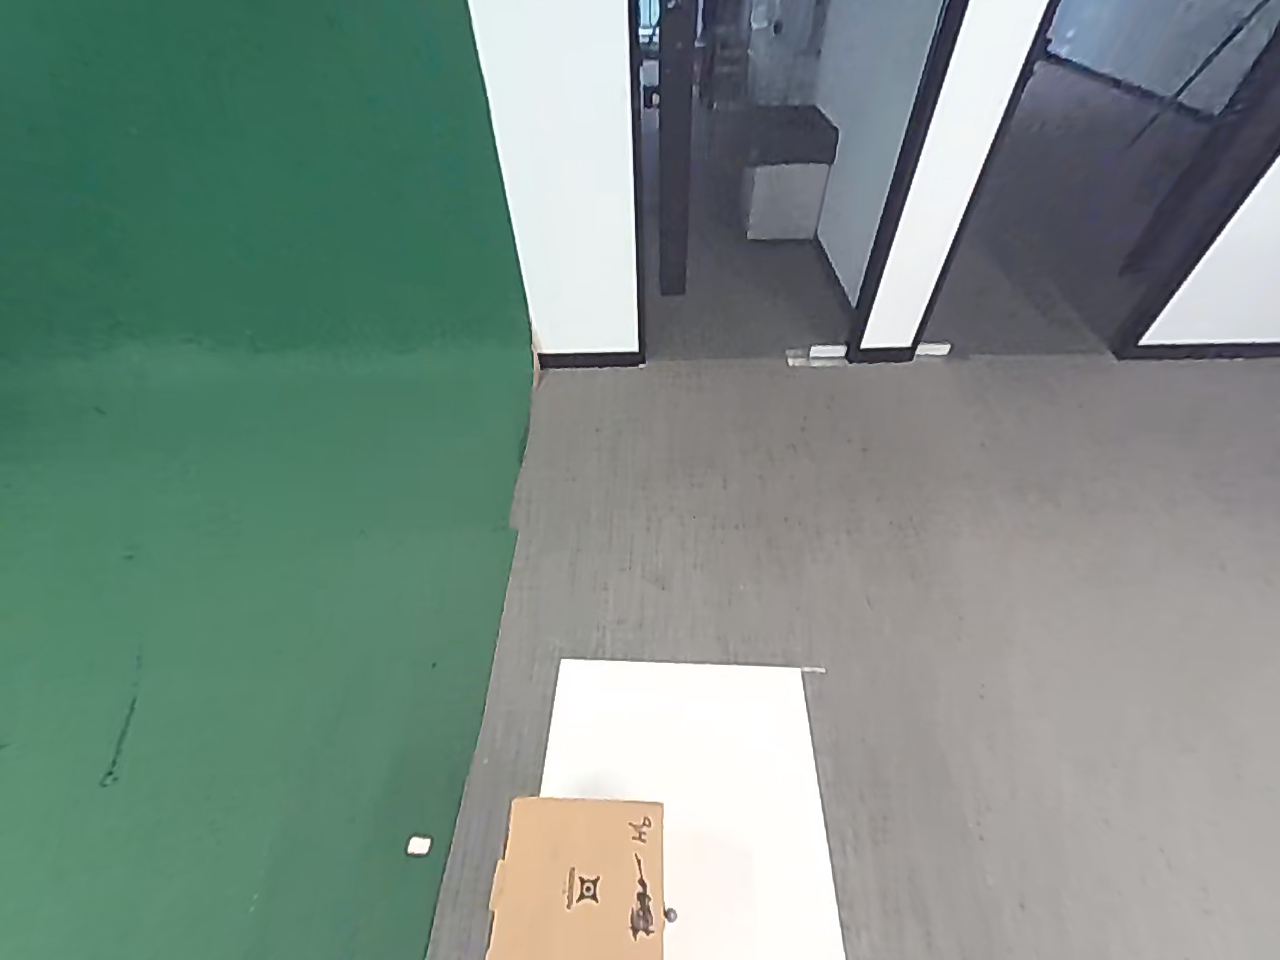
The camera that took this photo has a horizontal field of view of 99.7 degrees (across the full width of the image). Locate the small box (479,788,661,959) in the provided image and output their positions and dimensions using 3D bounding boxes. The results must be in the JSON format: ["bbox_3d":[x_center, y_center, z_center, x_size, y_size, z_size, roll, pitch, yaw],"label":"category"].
[{"bbox_3d":[-0.066,0.473,0.625,0.179,0.176,0.168,2,47,2],"label":"small box"}]
